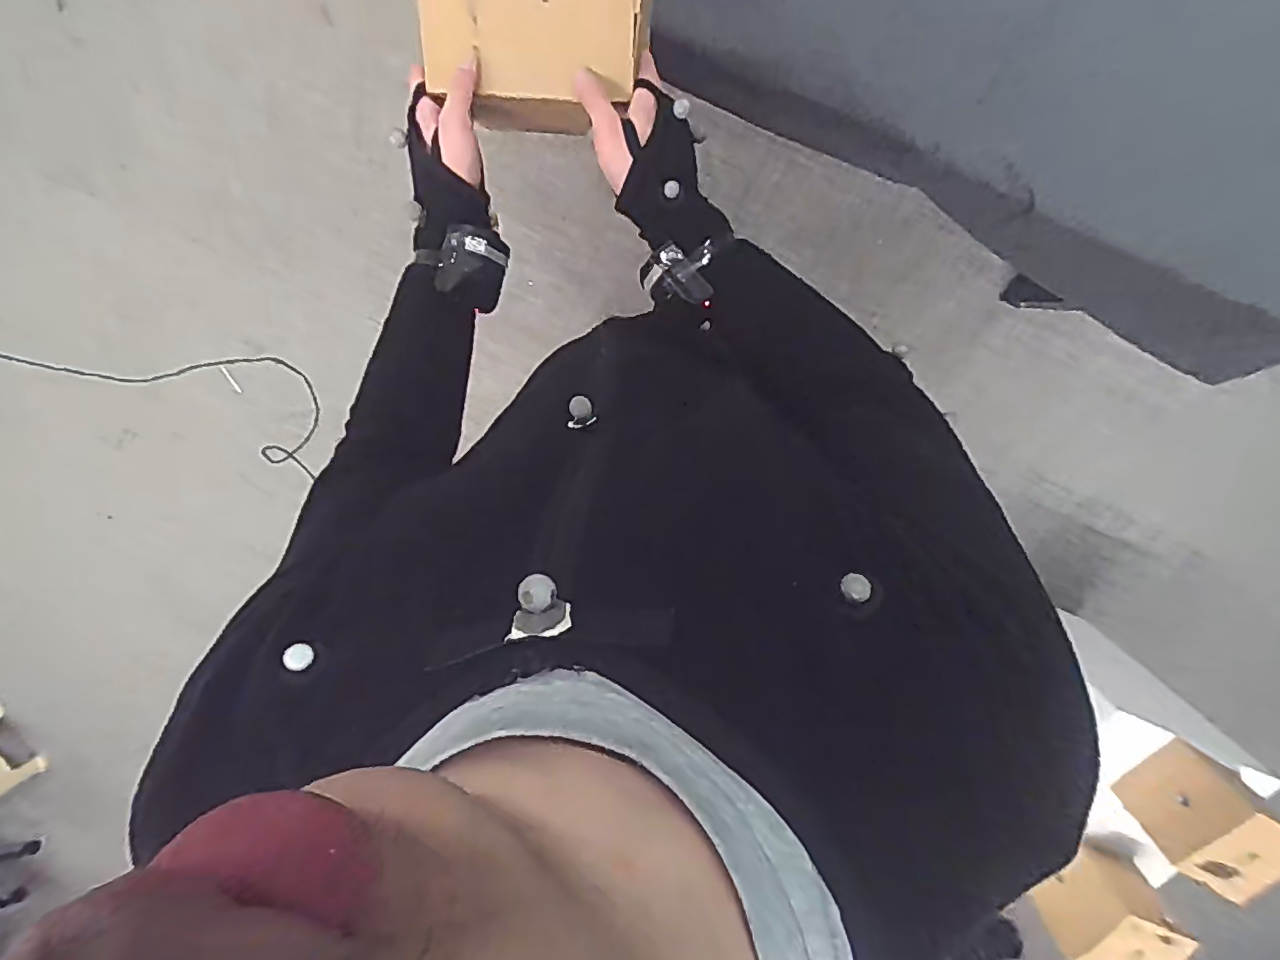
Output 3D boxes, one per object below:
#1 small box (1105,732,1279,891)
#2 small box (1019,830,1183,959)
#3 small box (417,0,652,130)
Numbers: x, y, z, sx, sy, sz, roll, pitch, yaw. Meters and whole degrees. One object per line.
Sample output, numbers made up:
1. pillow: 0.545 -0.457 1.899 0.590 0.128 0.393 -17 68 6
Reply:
1. small box: 1.072 0.641 1.057 0.168 0.176 0.179 31 108 -9
2. small box: 0.963 0.902 1.156 0.168 0.176 0.179 25 109 -6
3. small box: -0.078 -0.419 0.469 0.179 0.176 0.168 4 112 2
